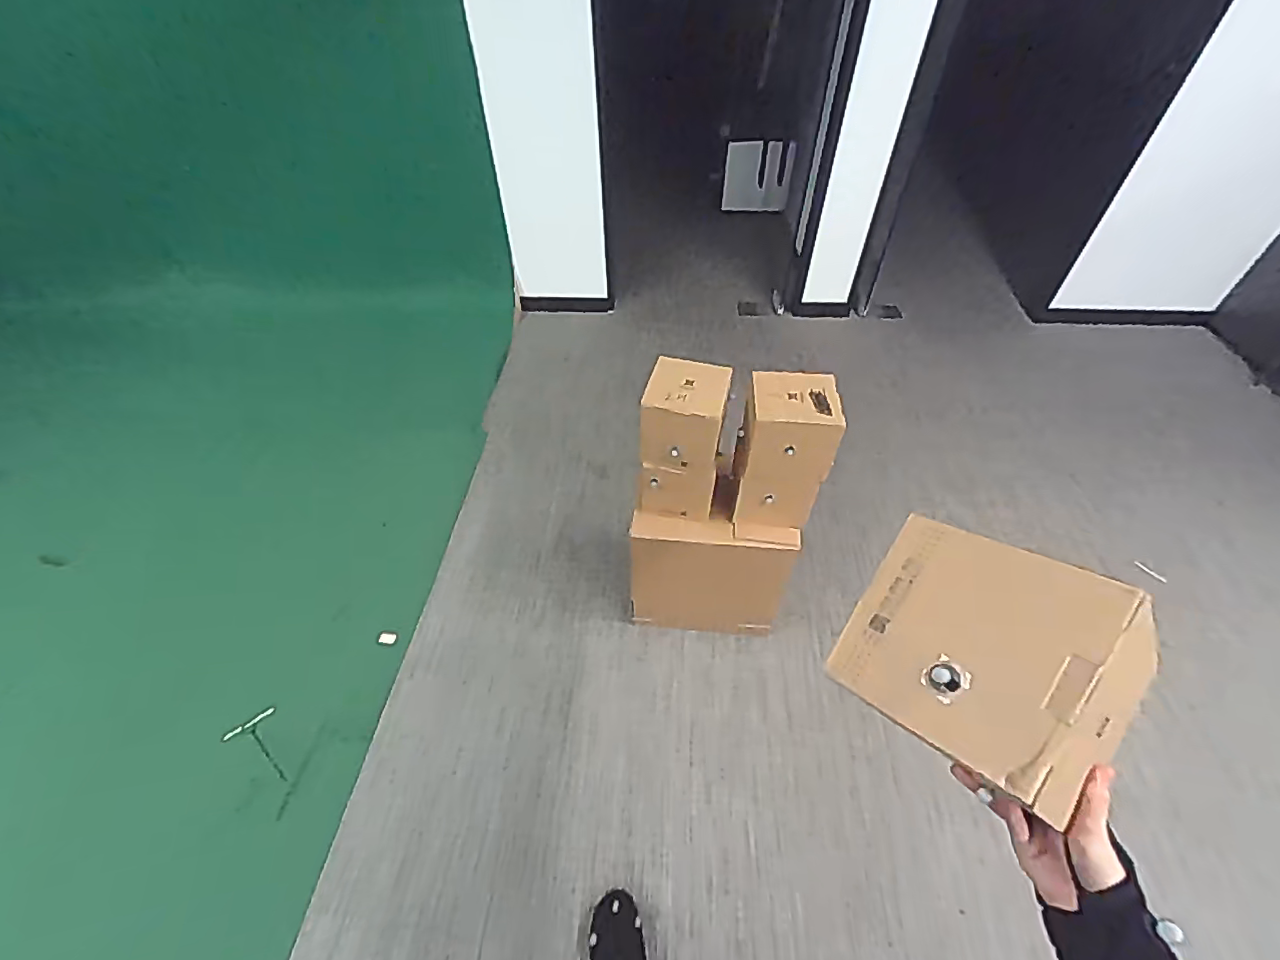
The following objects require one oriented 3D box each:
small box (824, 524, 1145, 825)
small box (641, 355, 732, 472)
[{"bbox_3d":[0.294,0.156,0.472,0.176,0.179,0.168,25,79,52],"label":"small box"},{"bbox_3d":[0.099,-0.146,1.192,0.168,0.176,0.179,11,50,10],"label":"small box"}]
